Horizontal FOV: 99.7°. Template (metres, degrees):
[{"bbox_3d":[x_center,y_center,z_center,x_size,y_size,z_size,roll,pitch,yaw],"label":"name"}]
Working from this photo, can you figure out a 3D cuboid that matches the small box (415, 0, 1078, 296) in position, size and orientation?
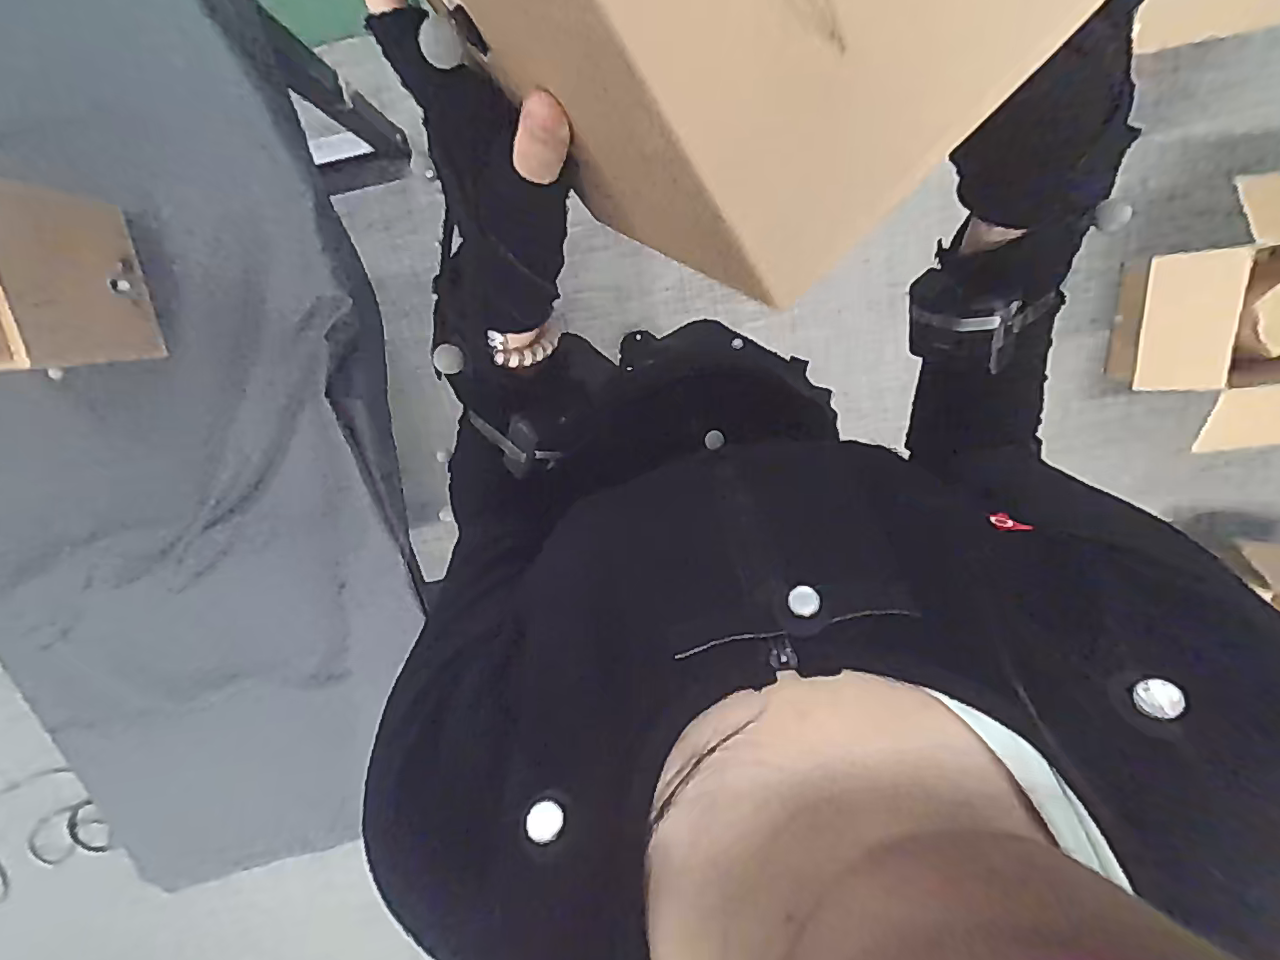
[{"bbox_3d":[0.022,-0.198,0.175,0.179,0.176,0.168,-44,128,6],"label":"small box"}]
